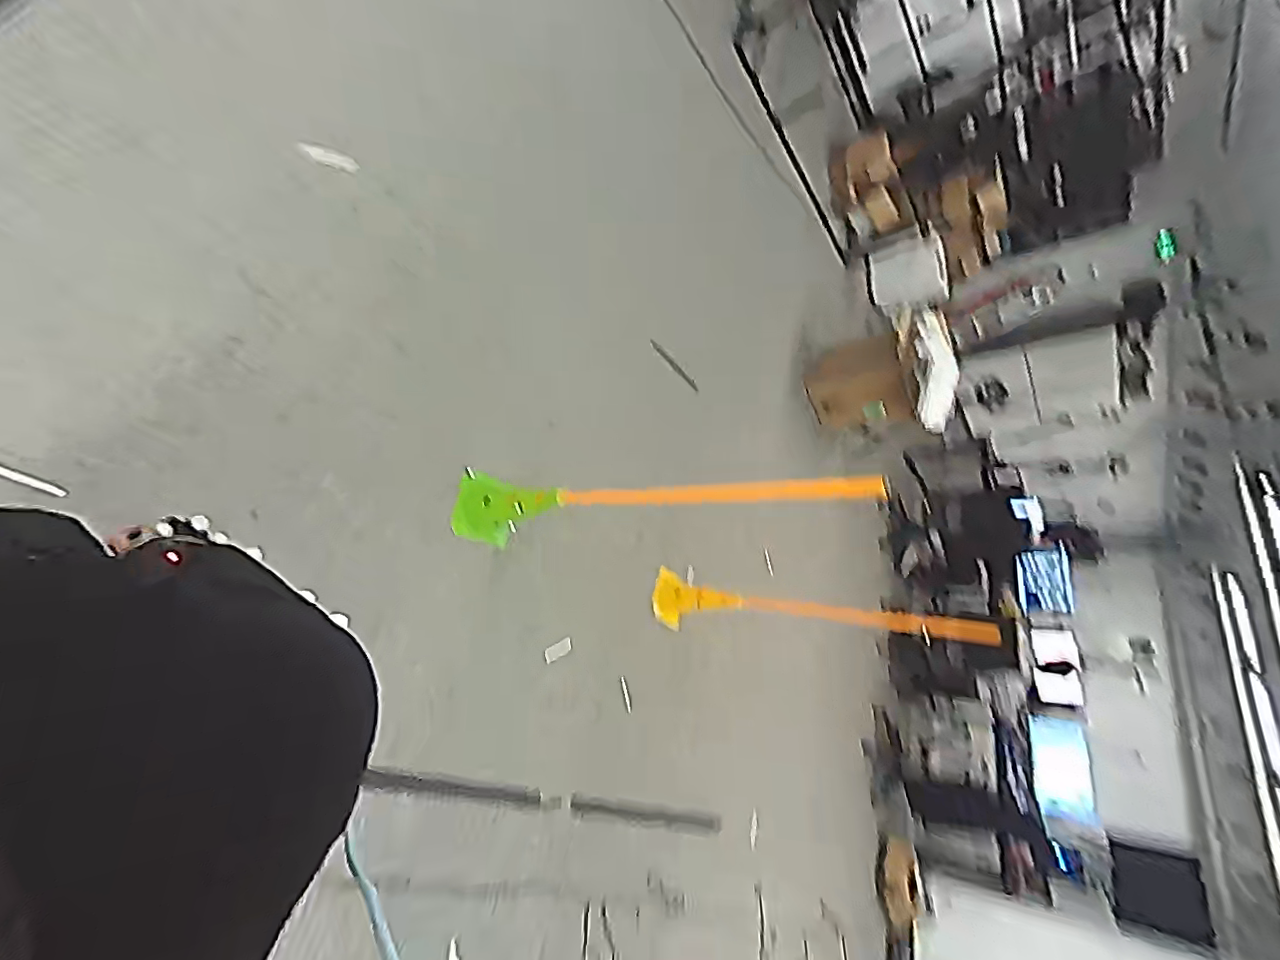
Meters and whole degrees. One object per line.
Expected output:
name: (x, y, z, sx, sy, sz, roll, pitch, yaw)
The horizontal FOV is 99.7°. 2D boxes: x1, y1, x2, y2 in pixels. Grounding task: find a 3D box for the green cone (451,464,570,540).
green cone: (-0.345, 0.053, 1.548, 0.202, 0.368, 0.200, 26, 65, -48)
